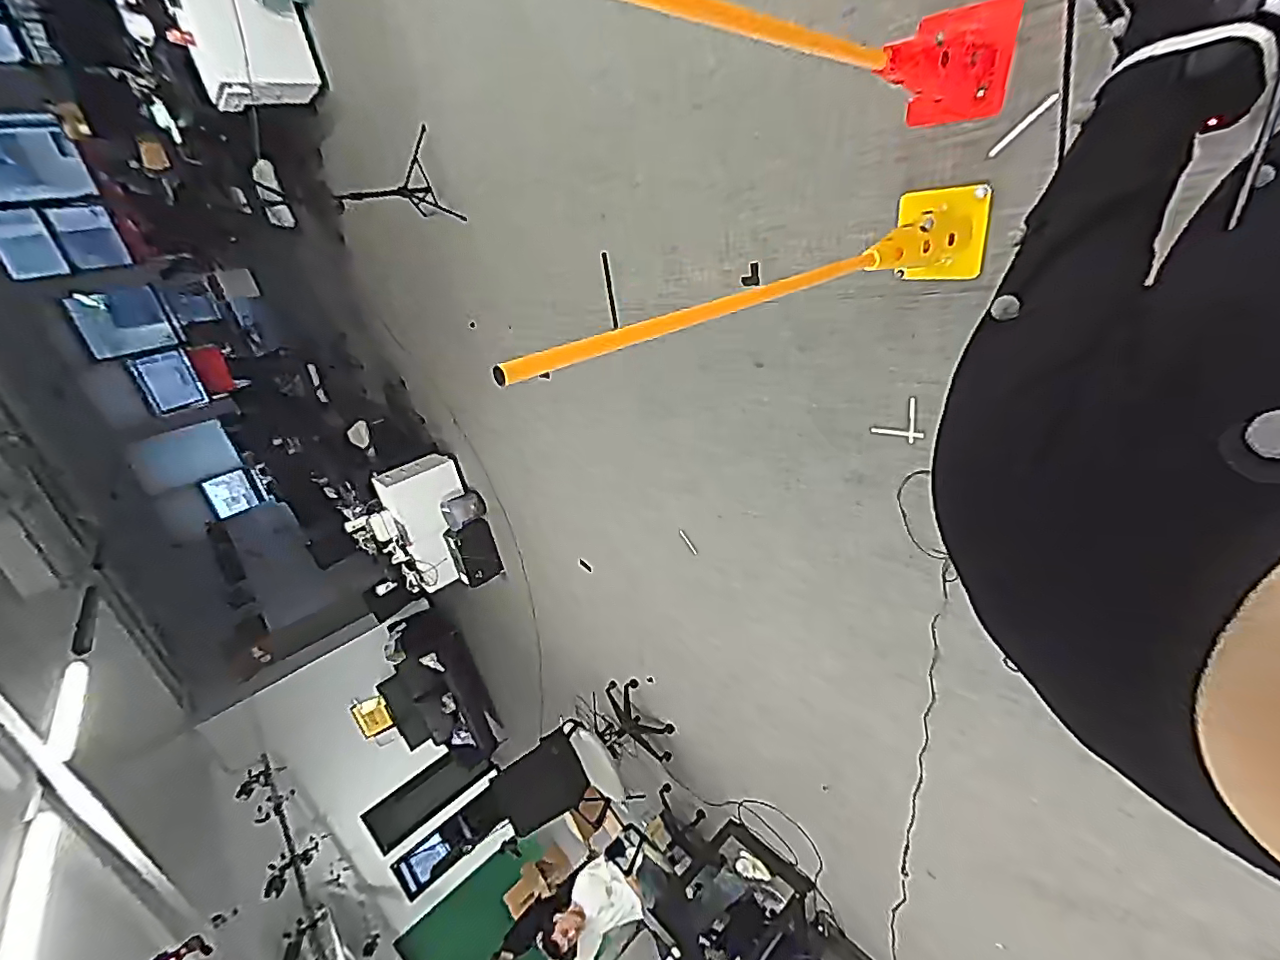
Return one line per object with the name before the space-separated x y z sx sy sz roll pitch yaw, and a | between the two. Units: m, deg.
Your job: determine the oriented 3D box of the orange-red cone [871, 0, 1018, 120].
orange-red cone | 0.540 -0.813 1.037 0.198 0.360 0.199 24 130 40
